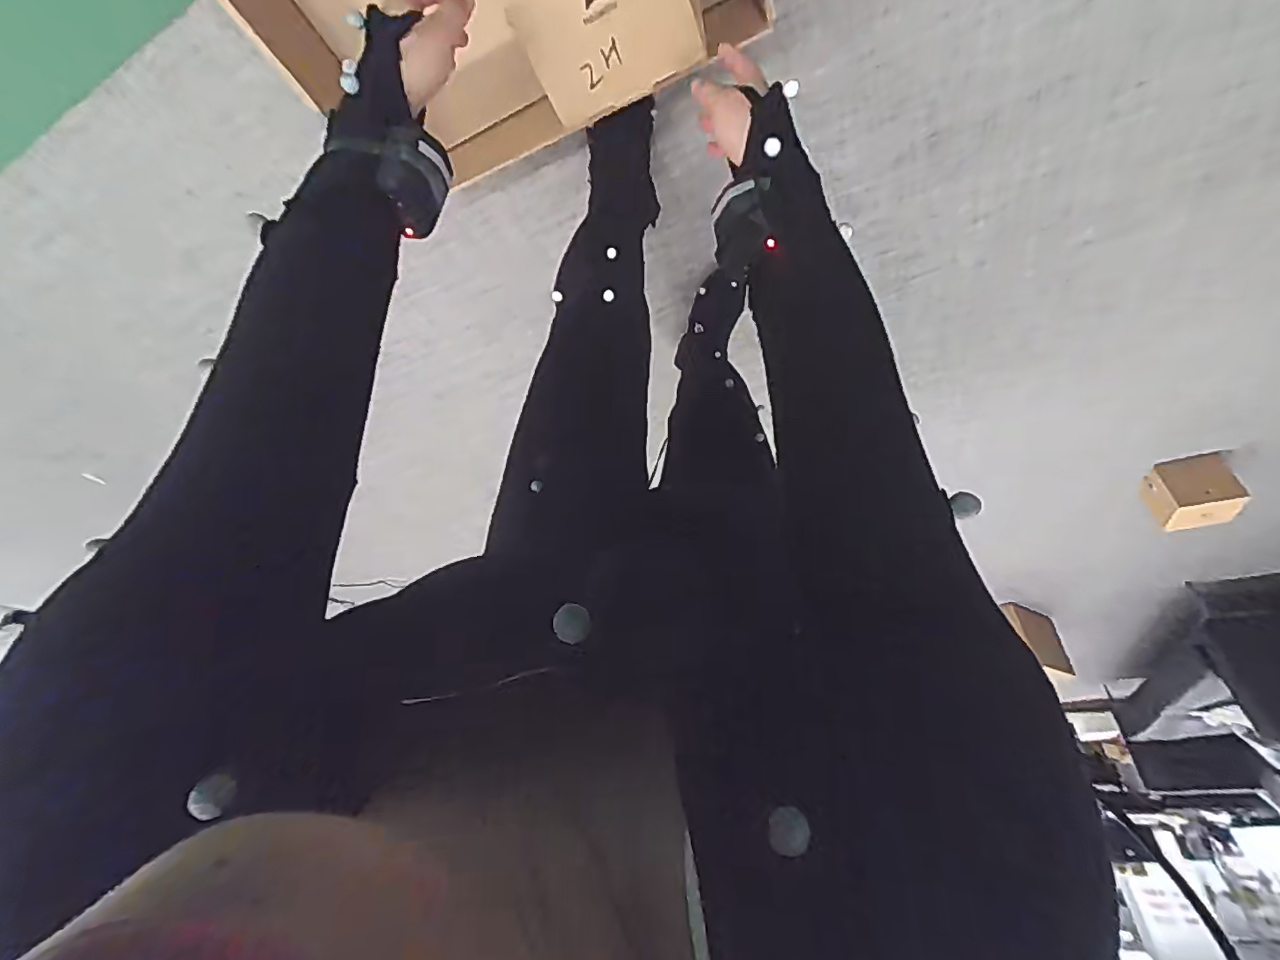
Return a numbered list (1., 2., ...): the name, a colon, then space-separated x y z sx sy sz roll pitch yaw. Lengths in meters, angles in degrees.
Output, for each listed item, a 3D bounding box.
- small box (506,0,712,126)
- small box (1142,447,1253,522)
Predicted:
1. small box: -0.036 -0.509 0.535 0.168 0.176 0.179 -13 145 21
2. small box: 1.786 0.013 1.745 0.179 0.176 0.168 -14 143 21
